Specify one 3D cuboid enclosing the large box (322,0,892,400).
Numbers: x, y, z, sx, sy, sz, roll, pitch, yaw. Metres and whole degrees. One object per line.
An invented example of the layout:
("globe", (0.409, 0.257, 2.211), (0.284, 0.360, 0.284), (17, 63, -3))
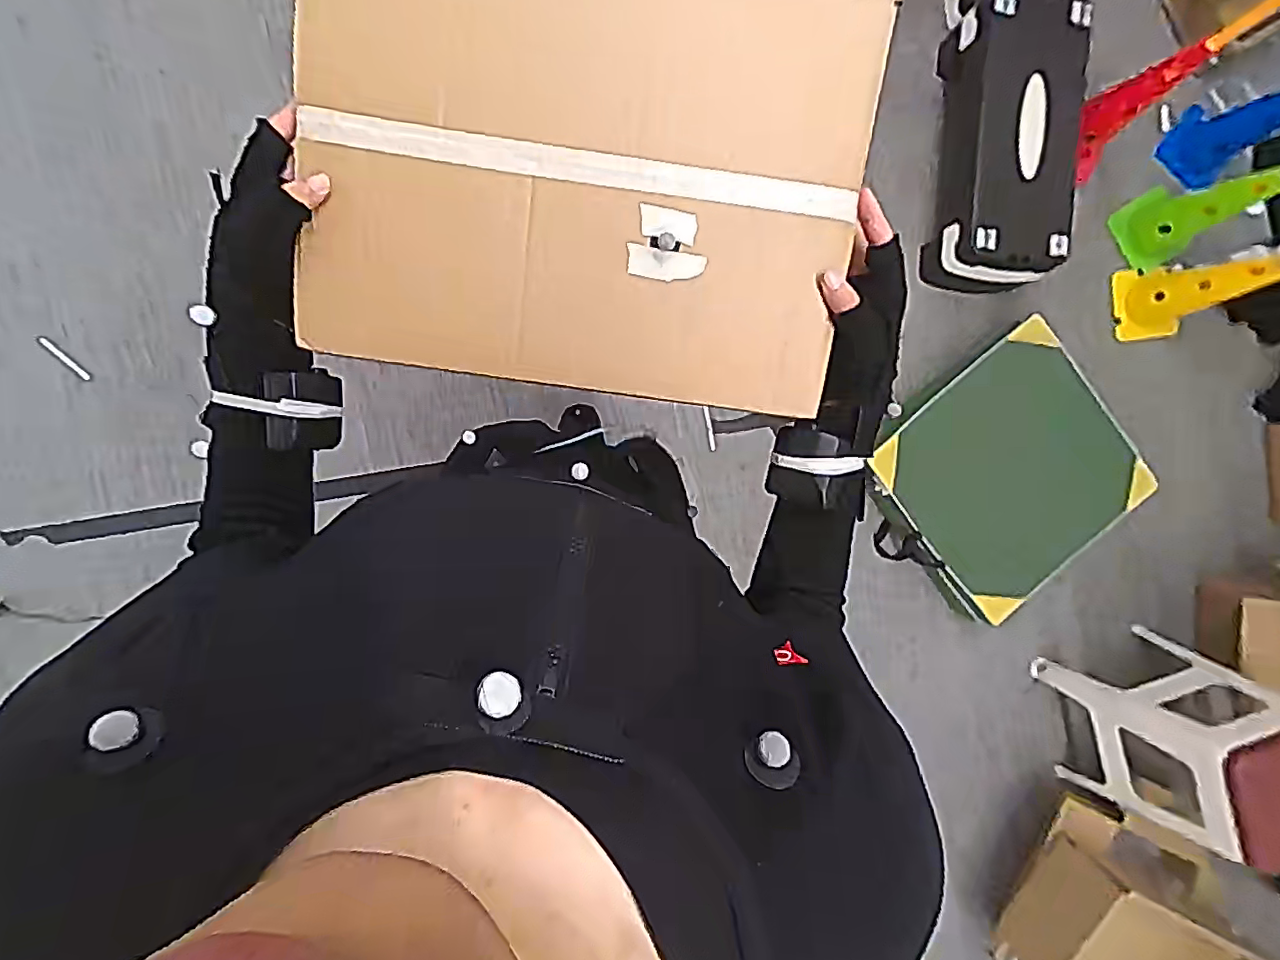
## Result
("large box", (-0.039, -0.266, 0.550), (0.408, 0.320, 0.320), (8, 102, -4))
